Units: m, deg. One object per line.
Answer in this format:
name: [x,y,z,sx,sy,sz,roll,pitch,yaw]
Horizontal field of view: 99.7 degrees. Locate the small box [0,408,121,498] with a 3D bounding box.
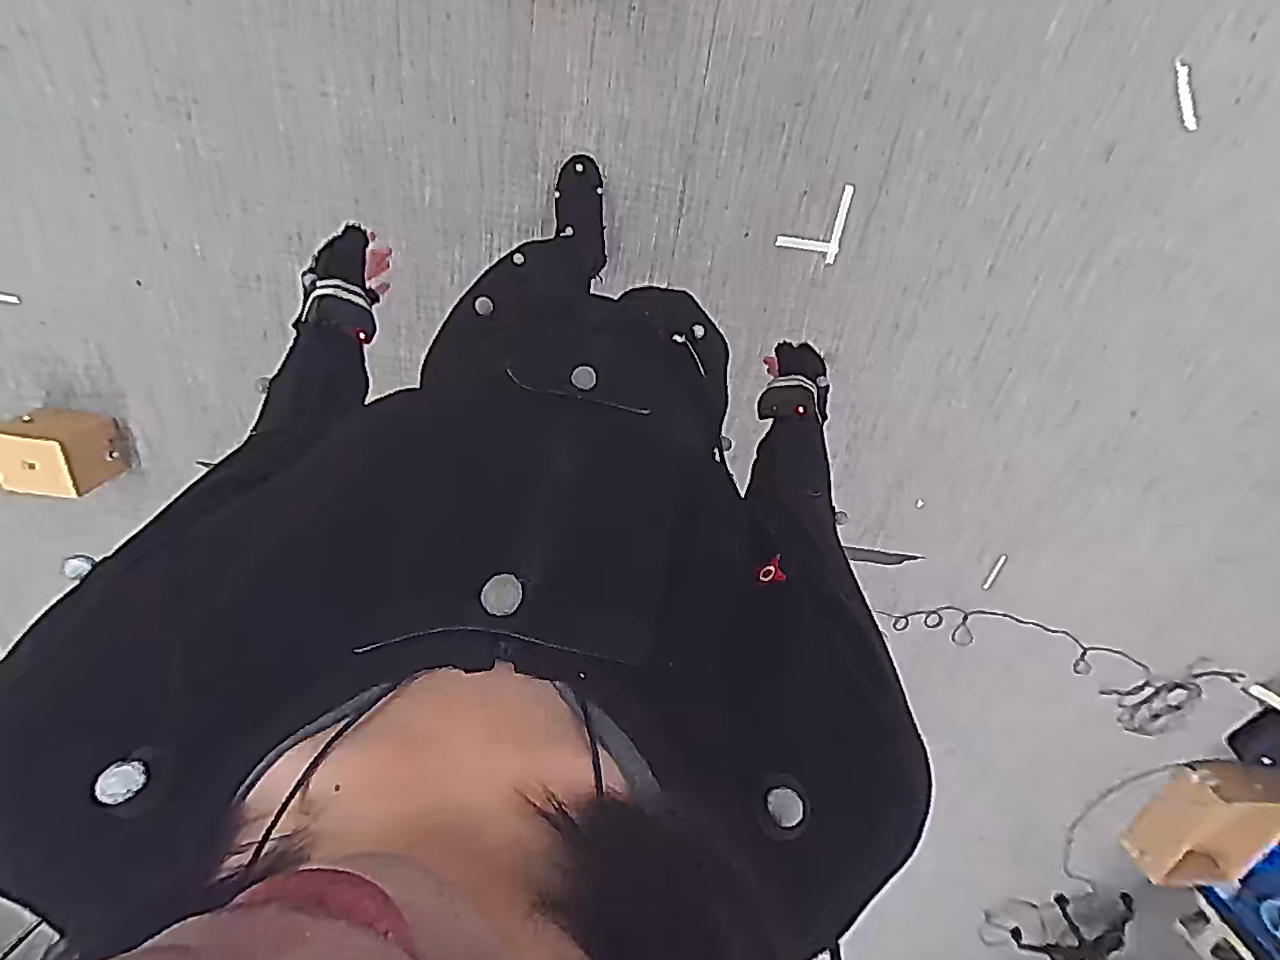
small box: [-1.513,-0.074,1.392,0.179,0.176,0.168,7,118,-8]
